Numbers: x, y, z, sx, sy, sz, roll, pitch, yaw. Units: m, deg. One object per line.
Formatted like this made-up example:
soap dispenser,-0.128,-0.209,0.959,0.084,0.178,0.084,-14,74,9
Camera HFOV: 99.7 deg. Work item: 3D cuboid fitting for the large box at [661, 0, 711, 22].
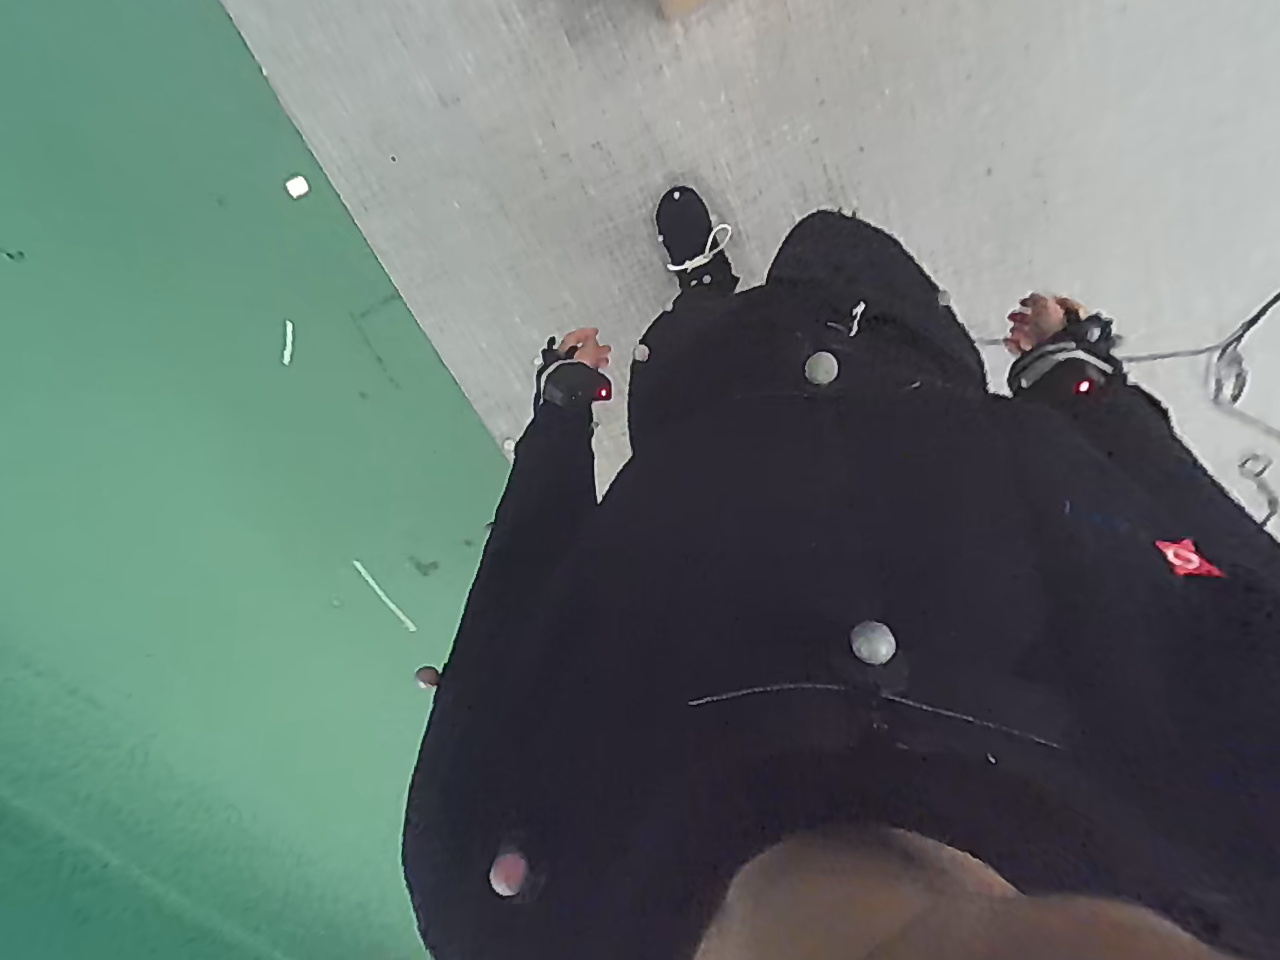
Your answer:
large box,0.152,-0.961,0.751,0.408,0.320,0.320,-23,116,15
